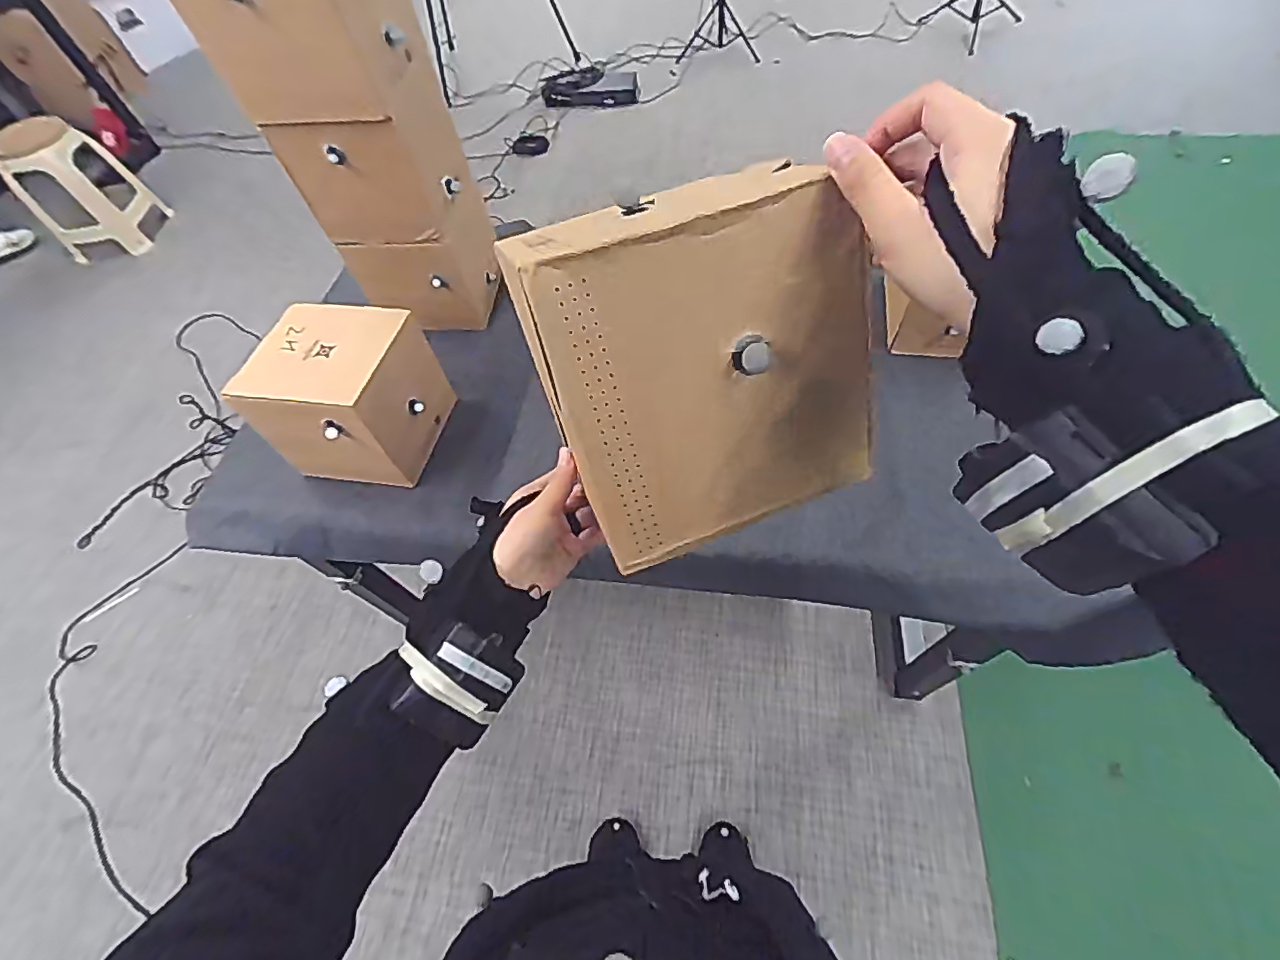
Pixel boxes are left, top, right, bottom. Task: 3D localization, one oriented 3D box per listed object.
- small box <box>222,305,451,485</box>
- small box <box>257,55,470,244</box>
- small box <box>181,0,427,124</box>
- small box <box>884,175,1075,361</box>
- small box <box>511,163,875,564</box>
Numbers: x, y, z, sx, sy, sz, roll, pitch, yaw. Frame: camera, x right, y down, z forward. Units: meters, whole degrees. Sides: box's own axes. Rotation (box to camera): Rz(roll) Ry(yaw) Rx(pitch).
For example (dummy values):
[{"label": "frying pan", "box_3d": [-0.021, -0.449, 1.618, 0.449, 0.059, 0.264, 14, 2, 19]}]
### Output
[{"label": "small box", "box_3d": [-0.381, -0.108, 0.721, 0.179, 0.176, 0.168, 6, 56, 9]}, {"label": "small box", "box_3d": [-0.358, -0.444, 0.740, 0.179, 0.176, 0.168, 1, 61, 5]}, {"label": "small box", "box_3d": [-0.370, -0.520, 0.595, 0.179, 0.176, 0.168, 3, 61, 6]}, {"label": "small box", "box_3d": [0.449, -0.291, 0.751, 0.168, 0.176, 0.179, 6, 61, 10]}, {"label": "small box", "box_3d": [0.022, -0.078, 0.347, 0.176, 0.179, 0.168, -20, 30, -7]}]
